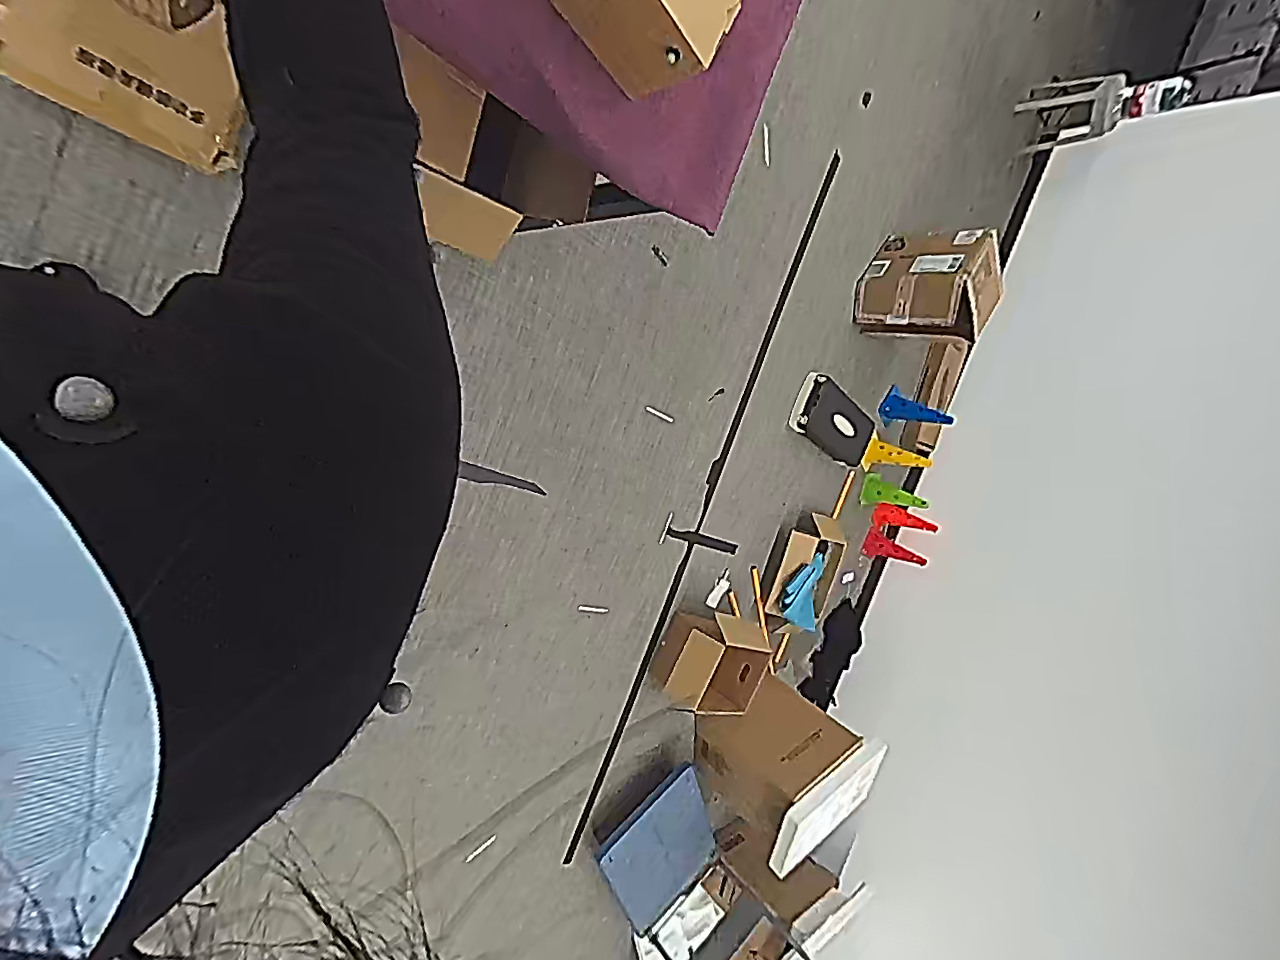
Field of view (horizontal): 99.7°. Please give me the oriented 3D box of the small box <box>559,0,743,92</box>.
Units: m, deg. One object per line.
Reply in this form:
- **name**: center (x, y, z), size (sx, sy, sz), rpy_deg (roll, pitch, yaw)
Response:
- **small box**: center (0.019, -0.665, 0.718), size (0.179, 0.176, 0.168), rpy_deg (26, 88, -45)
